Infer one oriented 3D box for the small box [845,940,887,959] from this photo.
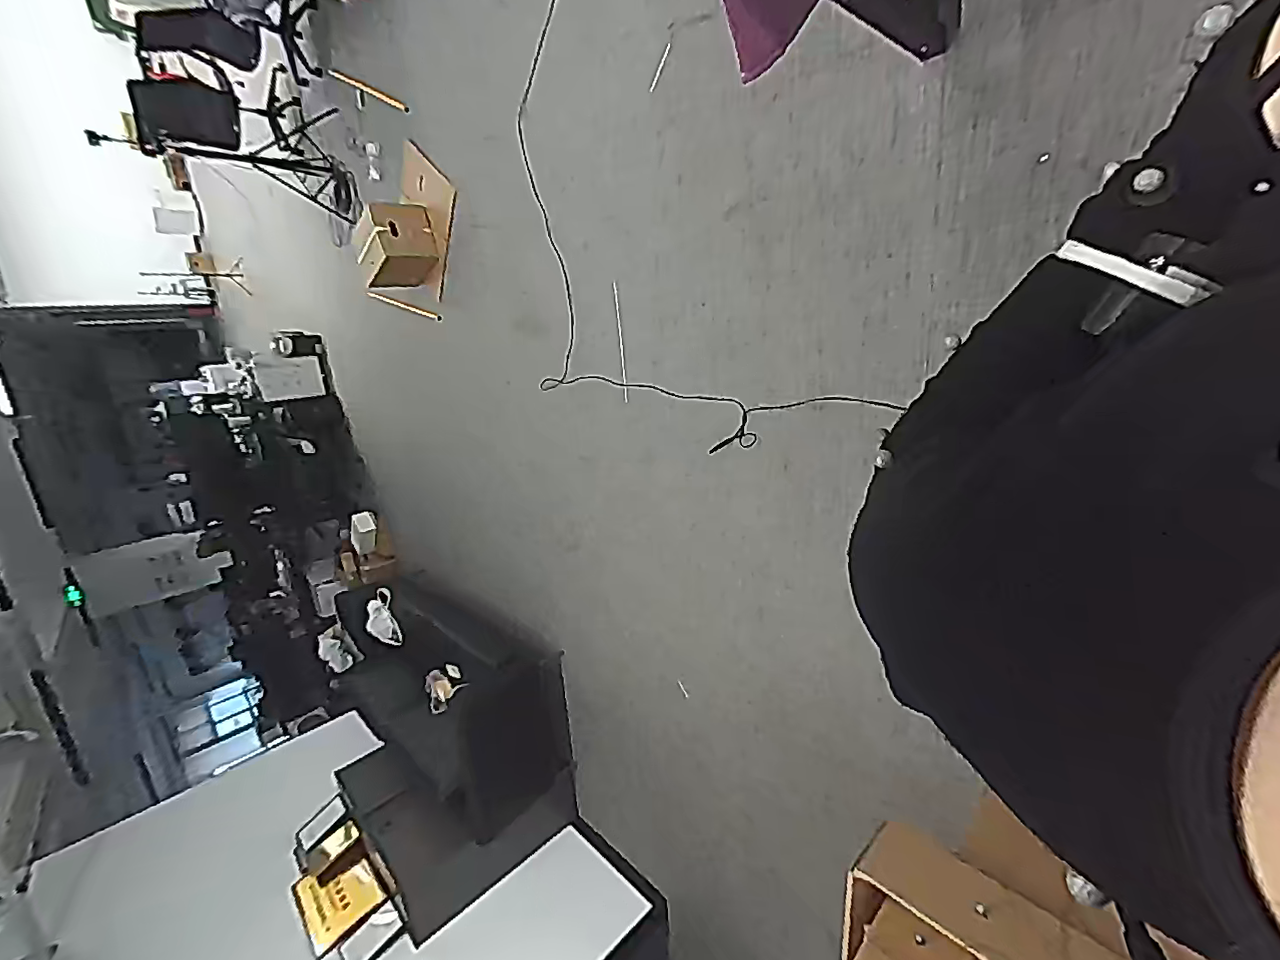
[{"bbox_3d":[0.470,1.092,1.080,0.168,0.176,0.179,15,114,45],"label":"small box"}]
